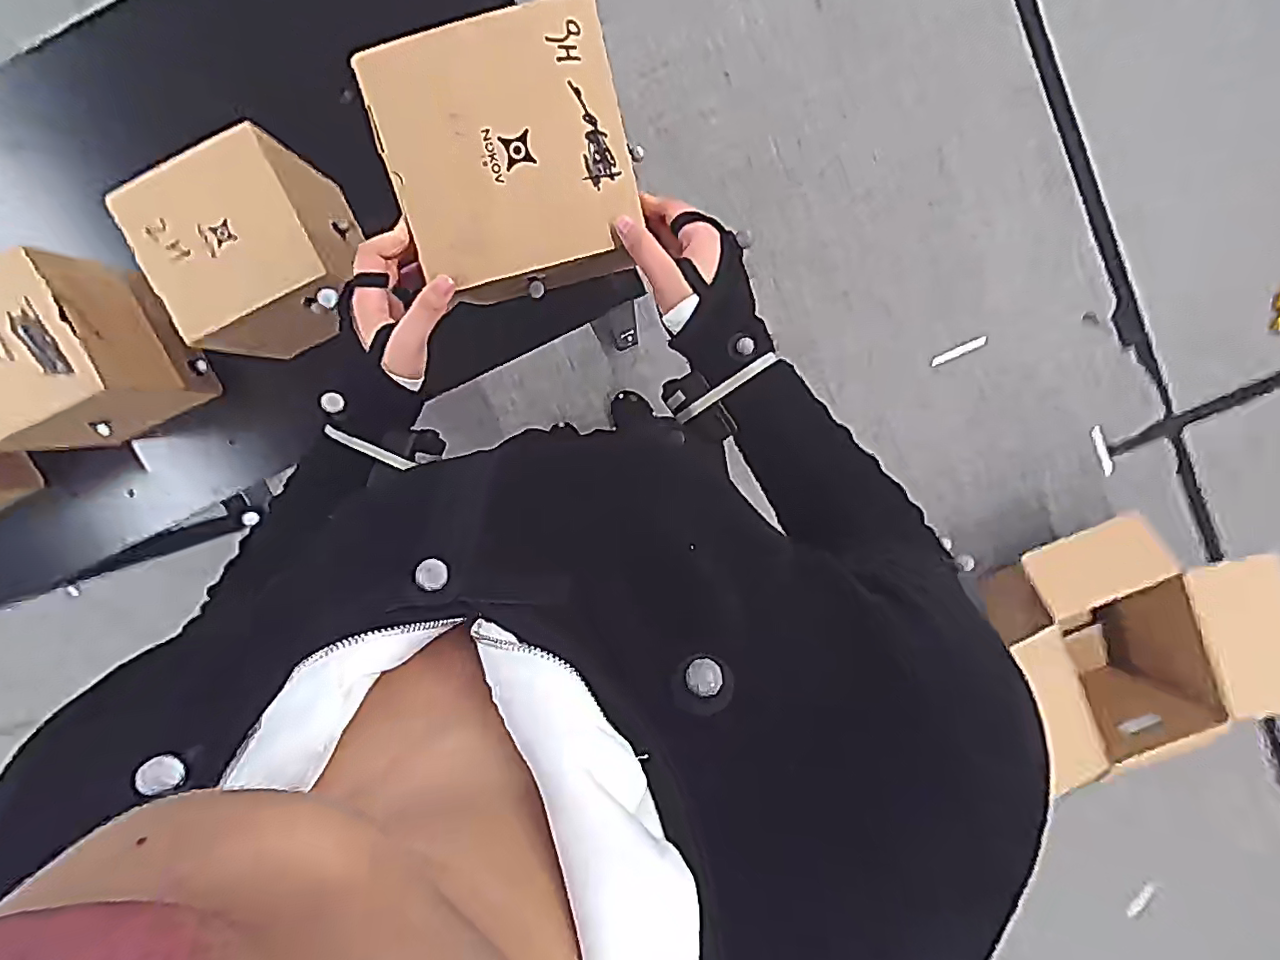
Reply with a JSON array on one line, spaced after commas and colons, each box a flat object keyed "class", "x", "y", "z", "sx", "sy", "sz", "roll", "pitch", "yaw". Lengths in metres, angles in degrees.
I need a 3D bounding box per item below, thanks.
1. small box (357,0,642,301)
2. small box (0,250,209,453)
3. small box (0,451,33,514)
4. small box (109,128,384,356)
[{"class": "small box", "x": -0.098, "y": -0.260, "z": 0.471, "sx": 0.179, "sy": 0.176, "sz": 0.168, "roll": -13, "pitch": 106, "yaw": 4}, {"class": "small box", "x": -0.681, "y": -0.147, "z": 0.659, "sx": 0.179, "sy": 0.176, "sz": 0.168, "roll": -24, "pitch": 97, "yaw": 4}, {"class": "small box", "x": -0.944, "y": -0.014, "z": 0.679, "sx": 0.179, "sy": 0.176, "sz": 0.168, "roll": -28, "pitch": 96, "yaw": 4}, {"class": "small box", "x": -0.437, "y": -0.262, "z": 0.642, "sx": 0.179, "sy": 0.176, "sz": 0.168, "roll": -26, "pitch": 96, "yaw": 3}]
